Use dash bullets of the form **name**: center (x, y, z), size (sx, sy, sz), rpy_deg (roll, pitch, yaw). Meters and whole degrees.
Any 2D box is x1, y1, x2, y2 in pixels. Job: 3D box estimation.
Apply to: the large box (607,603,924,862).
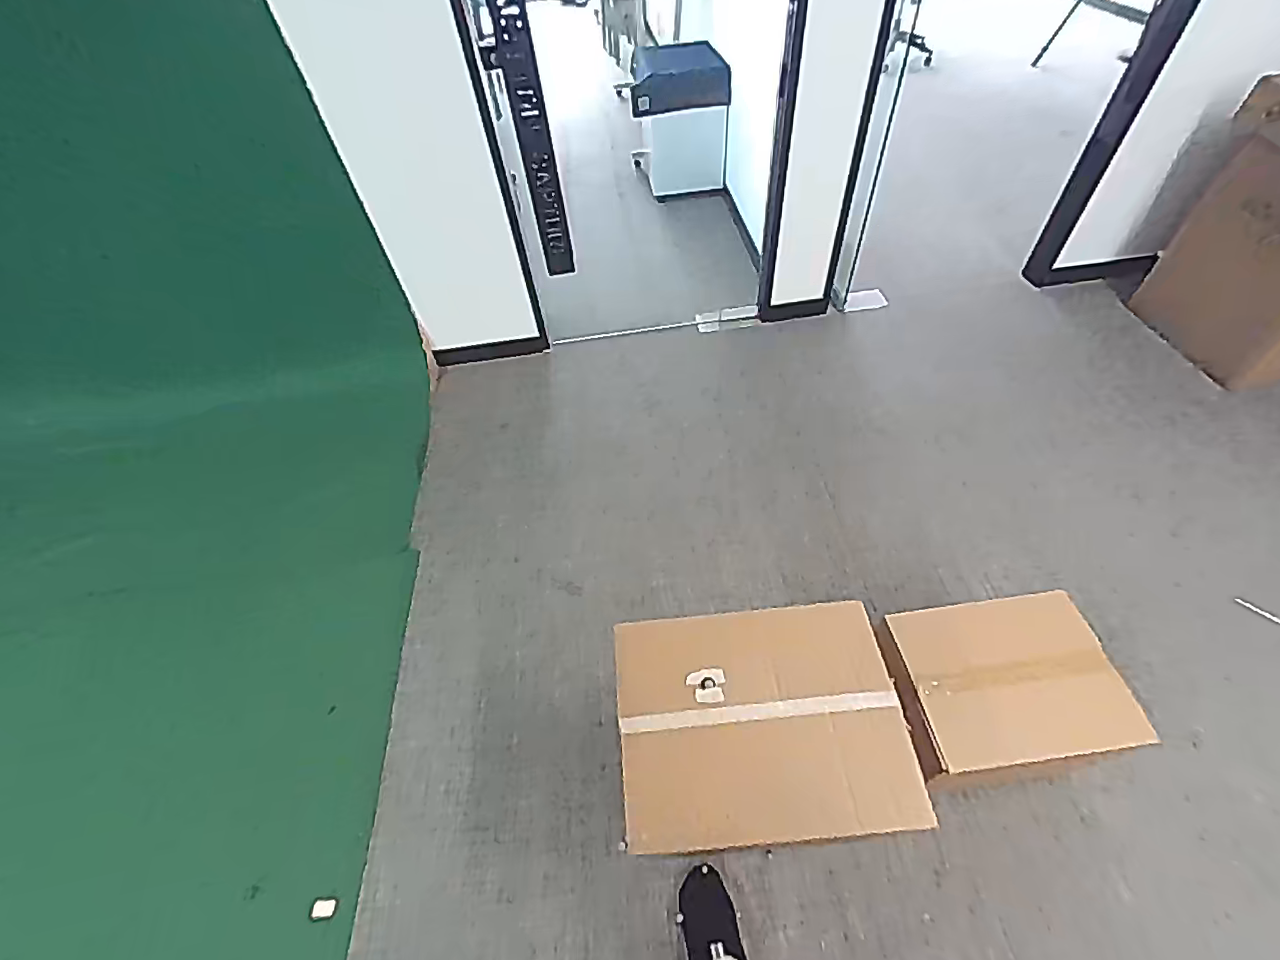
- **large box**: center (0.171, 0.427, 0.898), size (0.408, 0.320, 0.320), rpy_deg (-6, 54, 2)
